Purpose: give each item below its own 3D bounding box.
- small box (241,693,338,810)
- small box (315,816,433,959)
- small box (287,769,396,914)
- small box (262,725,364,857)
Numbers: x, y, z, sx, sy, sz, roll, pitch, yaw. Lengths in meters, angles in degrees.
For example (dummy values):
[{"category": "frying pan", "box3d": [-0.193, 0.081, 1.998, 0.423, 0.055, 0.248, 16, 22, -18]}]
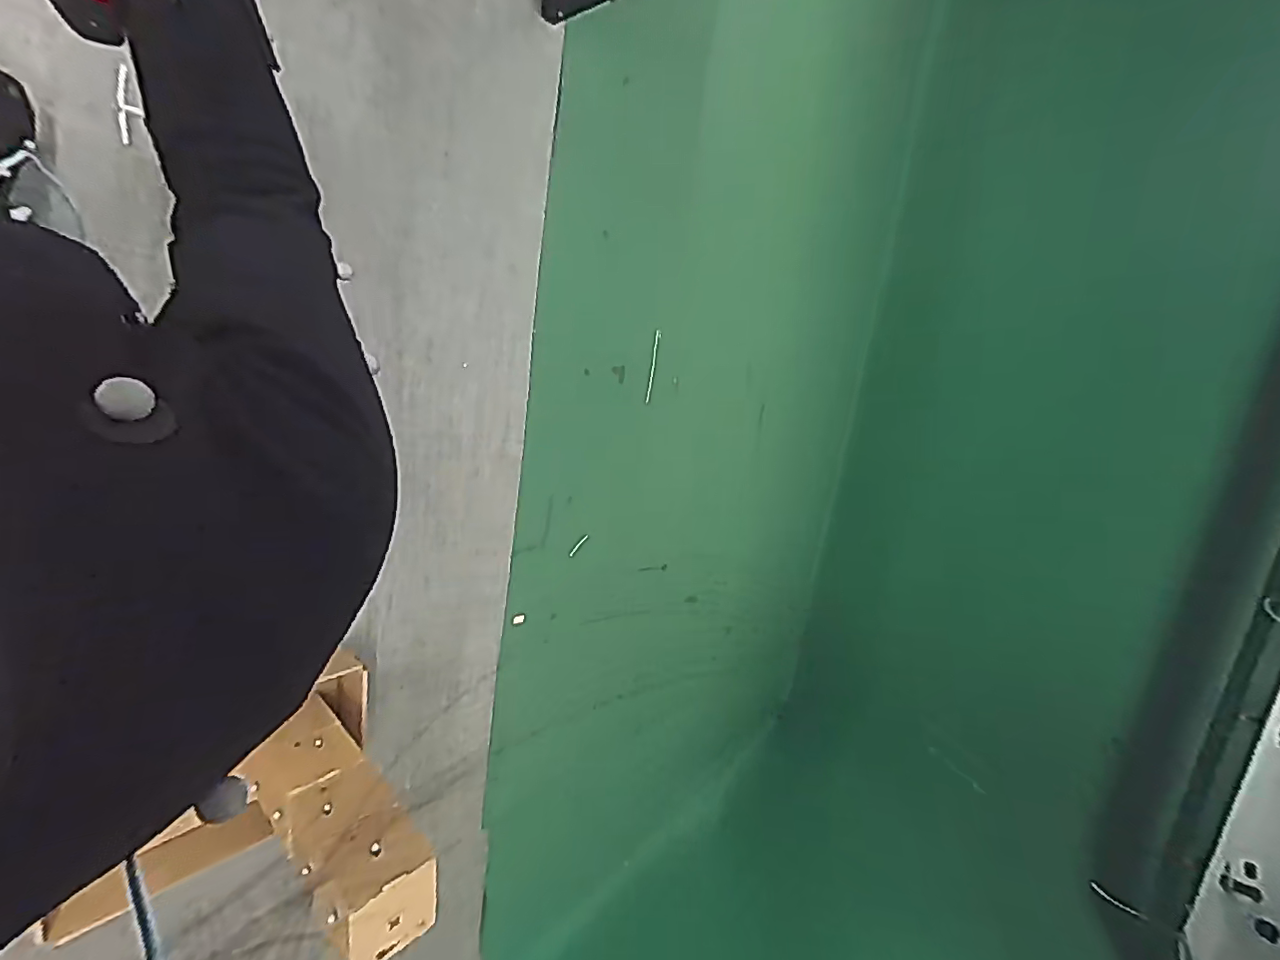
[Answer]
[{"category": "small box", "box3d": [-0.896, 0.682, 1.379, 0.168, 0.176, 0.179, -5, 108, -50]}, {"category": "small box", "box3d": [-0.532, 0.816, 1.080, 0.168, 0.176, 0.179, -9, 110, -47]}, {"category": "small box", "box3d": [-0.653, 0.771, 1.181, 0.168, 0.176, 0.179, -9, 111, -48]}, {"category": "small box", "box3d": [-0.775, 0.725, 1.280, 0.168, 0.176, 0.179, -7, 109, -49]}]
